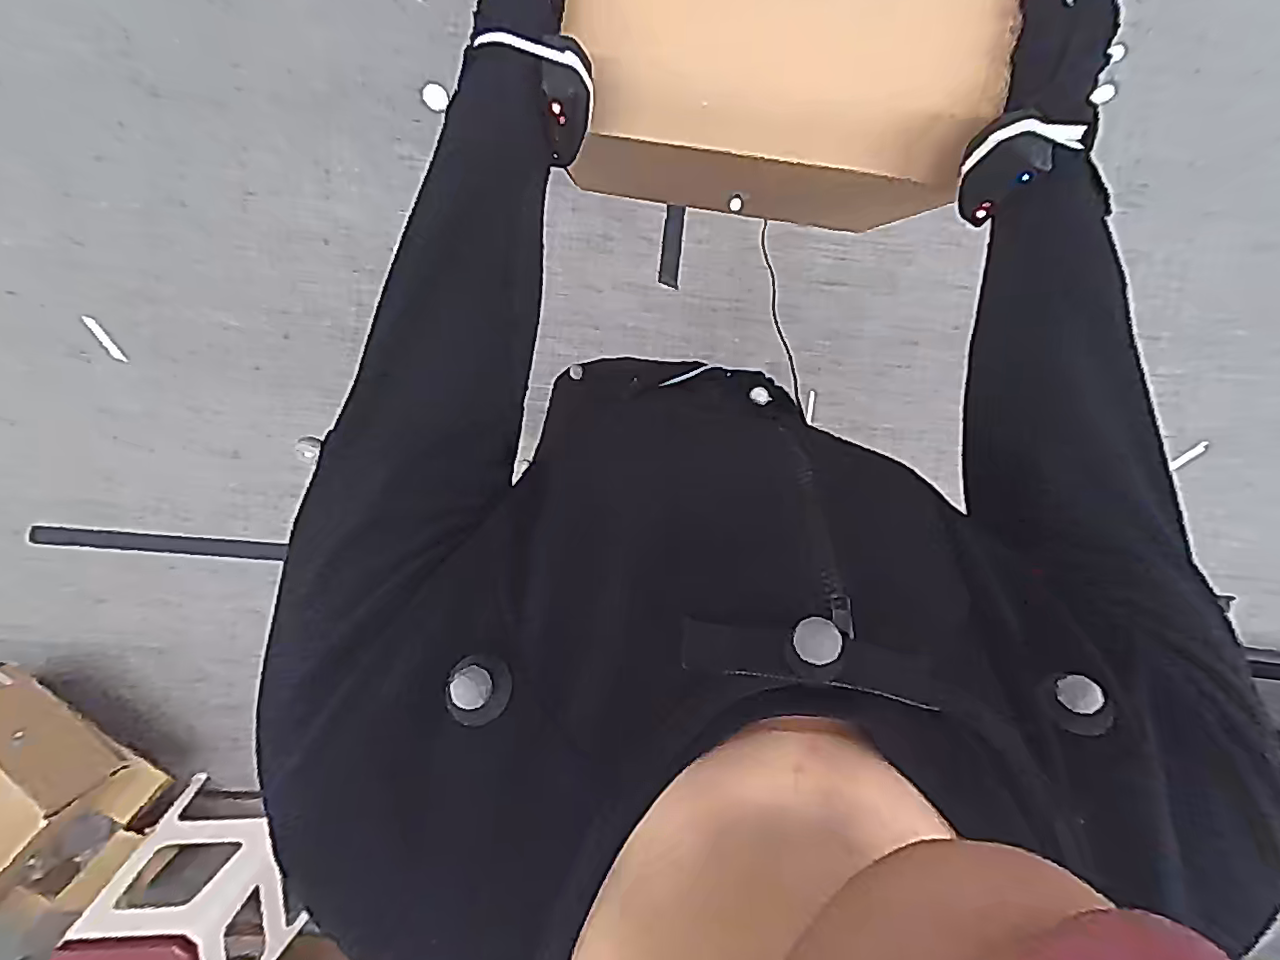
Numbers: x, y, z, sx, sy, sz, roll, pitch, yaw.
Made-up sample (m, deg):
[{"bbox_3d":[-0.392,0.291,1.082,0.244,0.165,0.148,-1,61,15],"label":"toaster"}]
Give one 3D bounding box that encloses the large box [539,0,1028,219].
[{"bbox_3d":[0.130,-0.482,0.574,0.408,0.320,0.320,8,108,-2],"label":"large box"}]
